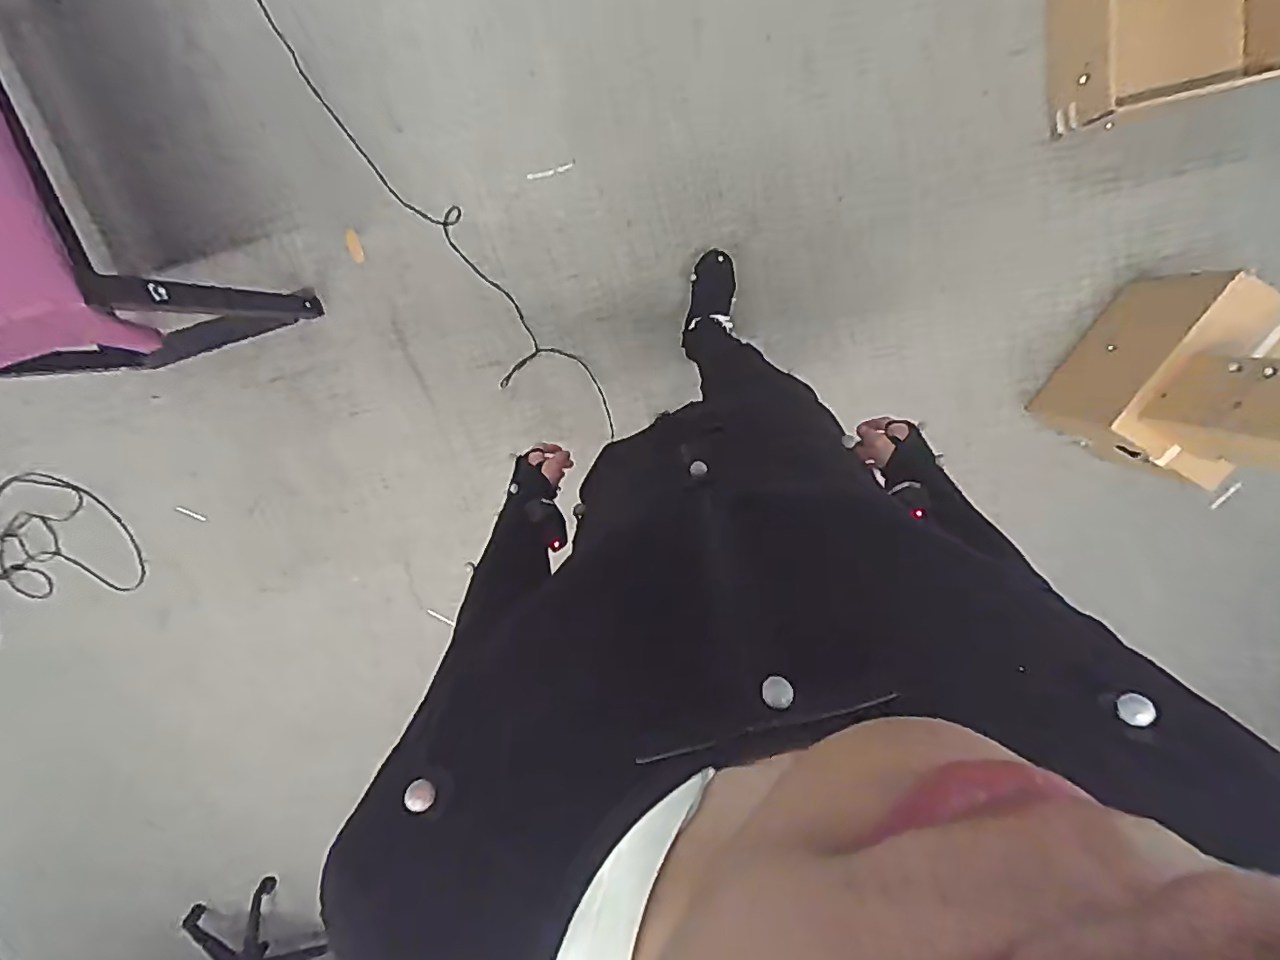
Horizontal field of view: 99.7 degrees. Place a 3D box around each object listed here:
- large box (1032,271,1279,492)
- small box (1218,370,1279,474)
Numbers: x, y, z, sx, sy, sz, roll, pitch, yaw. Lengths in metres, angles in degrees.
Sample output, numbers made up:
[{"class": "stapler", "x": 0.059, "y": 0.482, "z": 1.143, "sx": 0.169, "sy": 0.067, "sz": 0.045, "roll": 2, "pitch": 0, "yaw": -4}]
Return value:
[{"class": "large box", "x": 1.320, "y": -0.241, "z": 1.353, "sx": 0.320, "sy": 0.320, "sz": 0.408, "roll": 29, "pitch": 103, "yaw": -6}, {"class": "small box", "x": 1.231, "y": -0.096, "z": 0.971, "sx": 0.179, "sy": 0.176, "sz": 0.168, "roll": 31, "pitch": 104, "yaw": -6}]
